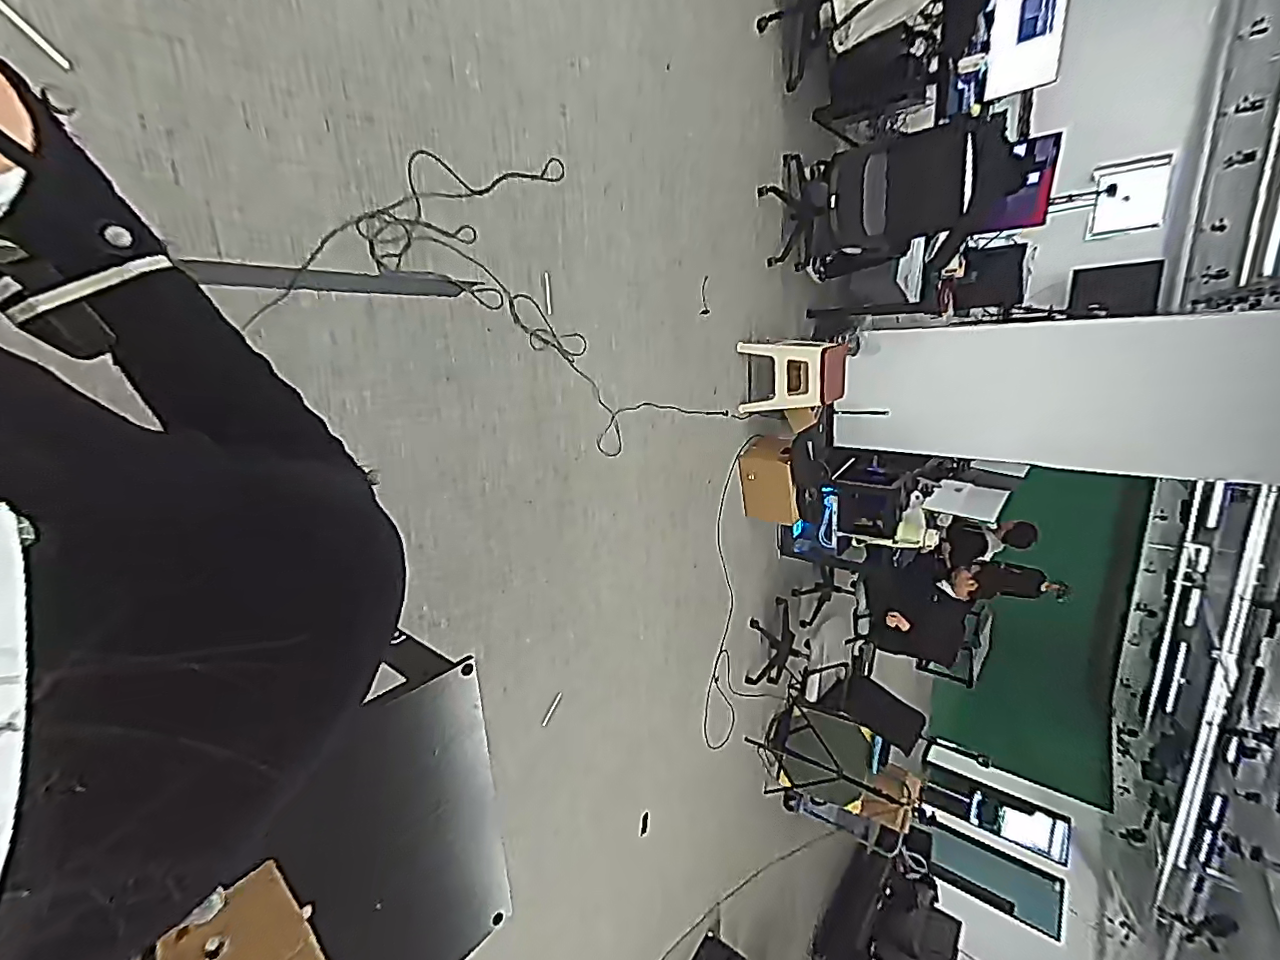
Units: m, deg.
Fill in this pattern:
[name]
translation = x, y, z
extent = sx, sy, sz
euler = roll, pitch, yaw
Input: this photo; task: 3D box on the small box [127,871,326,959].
[small box]
translation = -0.498, 0.635, 0.666
extent = 0.168, 0.176, 0.179
euler = -25, 116, -46
